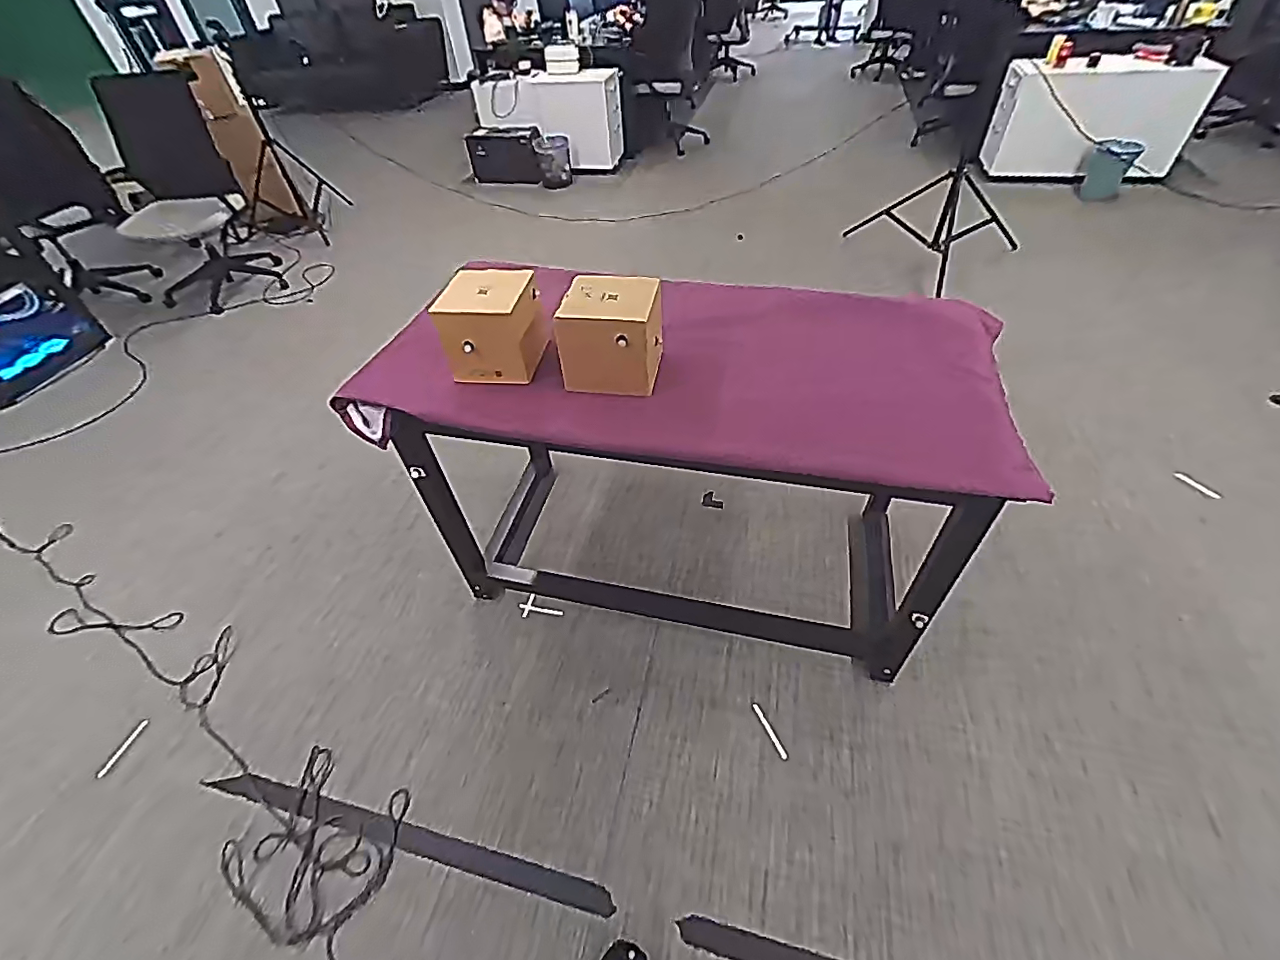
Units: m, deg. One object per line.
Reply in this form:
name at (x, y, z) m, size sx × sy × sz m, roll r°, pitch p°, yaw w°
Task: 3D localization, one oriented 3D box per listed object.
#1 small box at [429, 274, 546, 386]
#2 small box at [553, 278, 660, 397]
small box at (-0.305, -0.311, 1.128) m, size 0.168 × 0.176 × 0.179 m, roll 3°, pitch 46°, yaw 7°
small box at (-0.056, -0.282, 1.075) m, size 0.179 × 0.176 × 0.168 m, roll 5°, pitch 46°, yaw 9°
